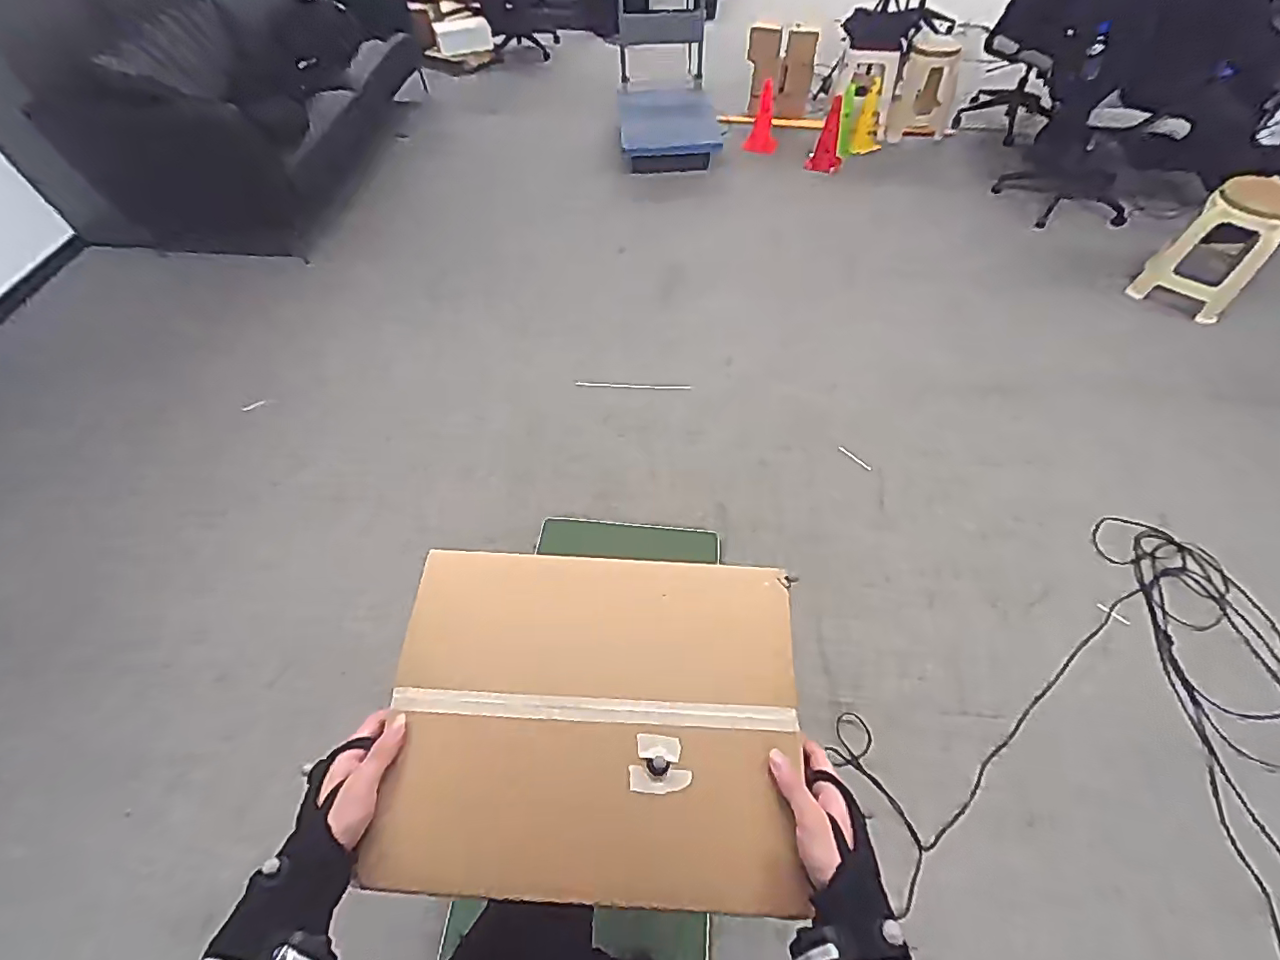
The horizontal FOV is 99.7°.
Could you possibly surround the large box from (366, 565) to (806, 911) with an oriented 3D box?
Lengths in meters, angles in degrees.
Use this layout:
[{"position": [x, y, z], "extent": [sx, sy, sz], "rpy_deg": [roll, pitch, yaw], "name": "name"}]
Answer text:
[{"position": [-0.047, 0.311, 0.681], "extent": [0.408, 0.320, 0.320], "rpy_deg": [3, 62, 1], "name": "large box"}]
